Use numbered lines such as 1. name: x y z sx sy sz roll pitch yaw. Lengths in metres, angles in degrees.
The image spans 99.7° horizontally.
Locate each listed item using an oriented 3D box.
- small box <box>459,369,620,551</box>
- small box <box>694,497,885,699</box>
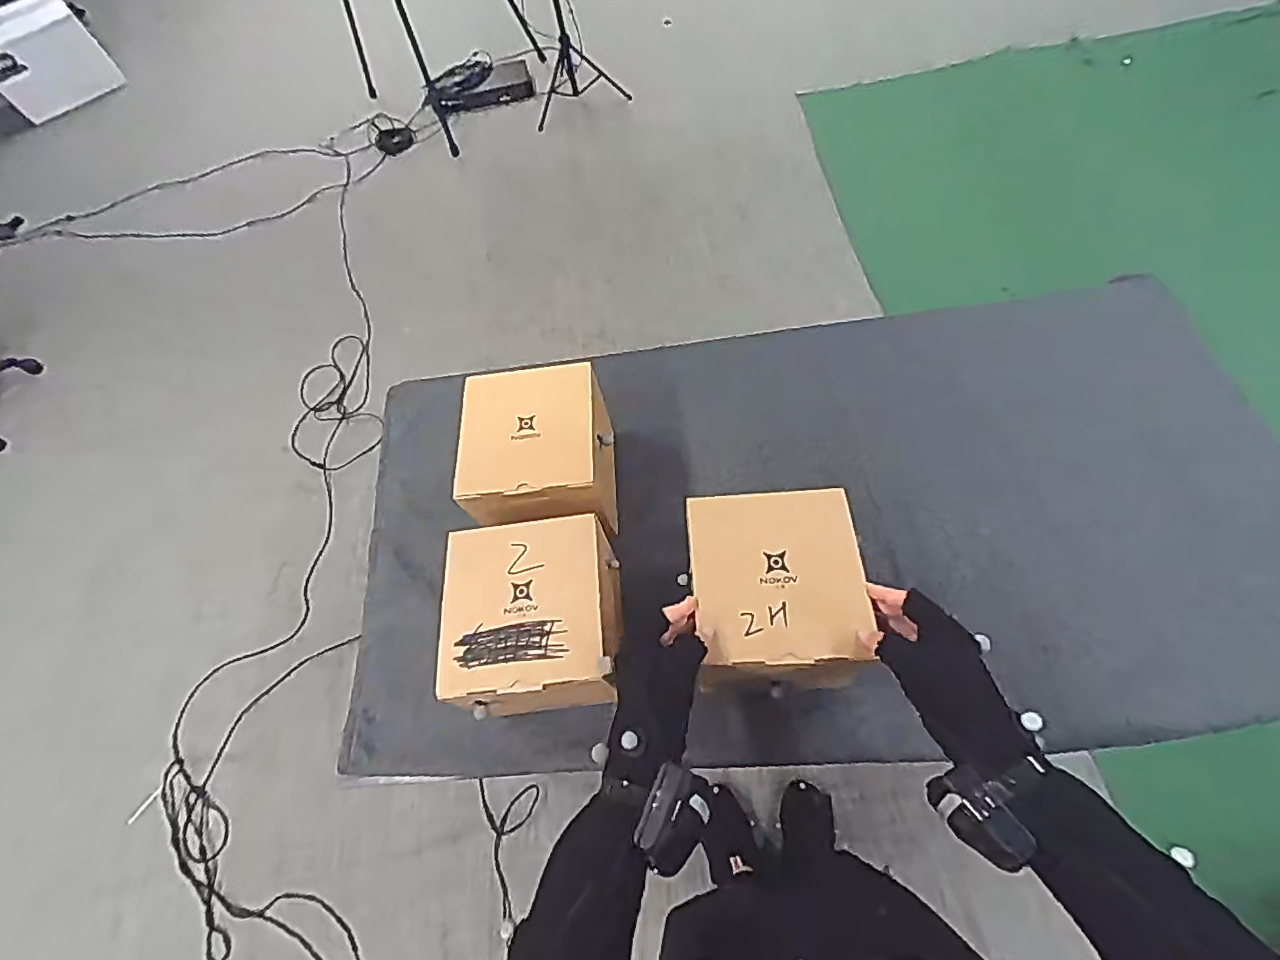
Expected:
1. small box: -0.121 -0.020 0.721 0.168 0.176 0.179 -6 63 5
2. small box: 0.146 0.136 0.599 0.168 0.176 0.179 -4 61 5
